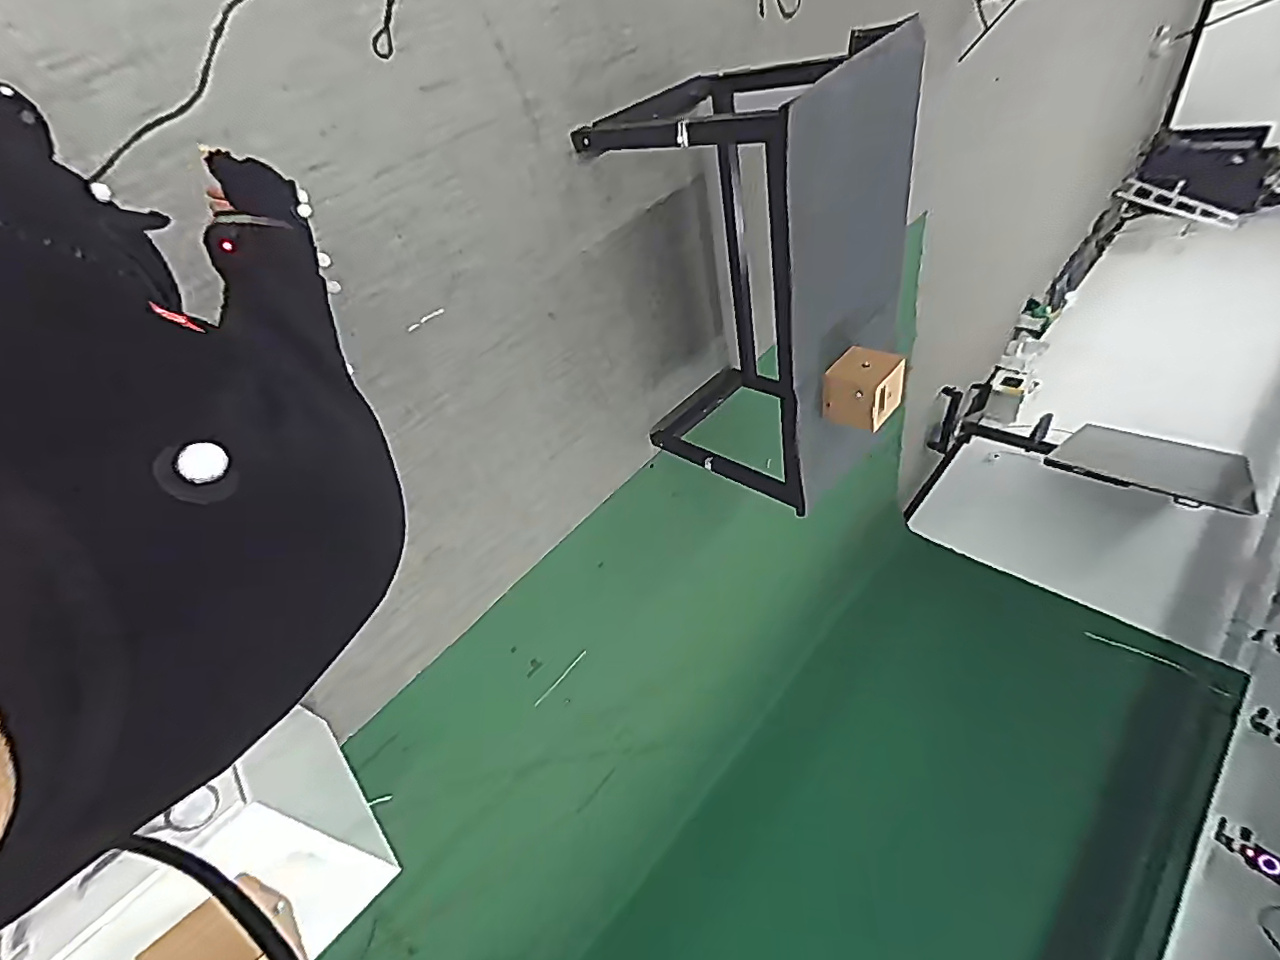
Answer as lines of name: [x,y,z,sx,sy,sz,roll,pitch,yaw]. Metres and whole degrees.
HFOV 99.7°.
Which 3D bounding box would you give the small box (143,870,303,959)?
small box: [-0.732,0.850,0.953,0.179,0.176,0.168,-35,135,-30]
